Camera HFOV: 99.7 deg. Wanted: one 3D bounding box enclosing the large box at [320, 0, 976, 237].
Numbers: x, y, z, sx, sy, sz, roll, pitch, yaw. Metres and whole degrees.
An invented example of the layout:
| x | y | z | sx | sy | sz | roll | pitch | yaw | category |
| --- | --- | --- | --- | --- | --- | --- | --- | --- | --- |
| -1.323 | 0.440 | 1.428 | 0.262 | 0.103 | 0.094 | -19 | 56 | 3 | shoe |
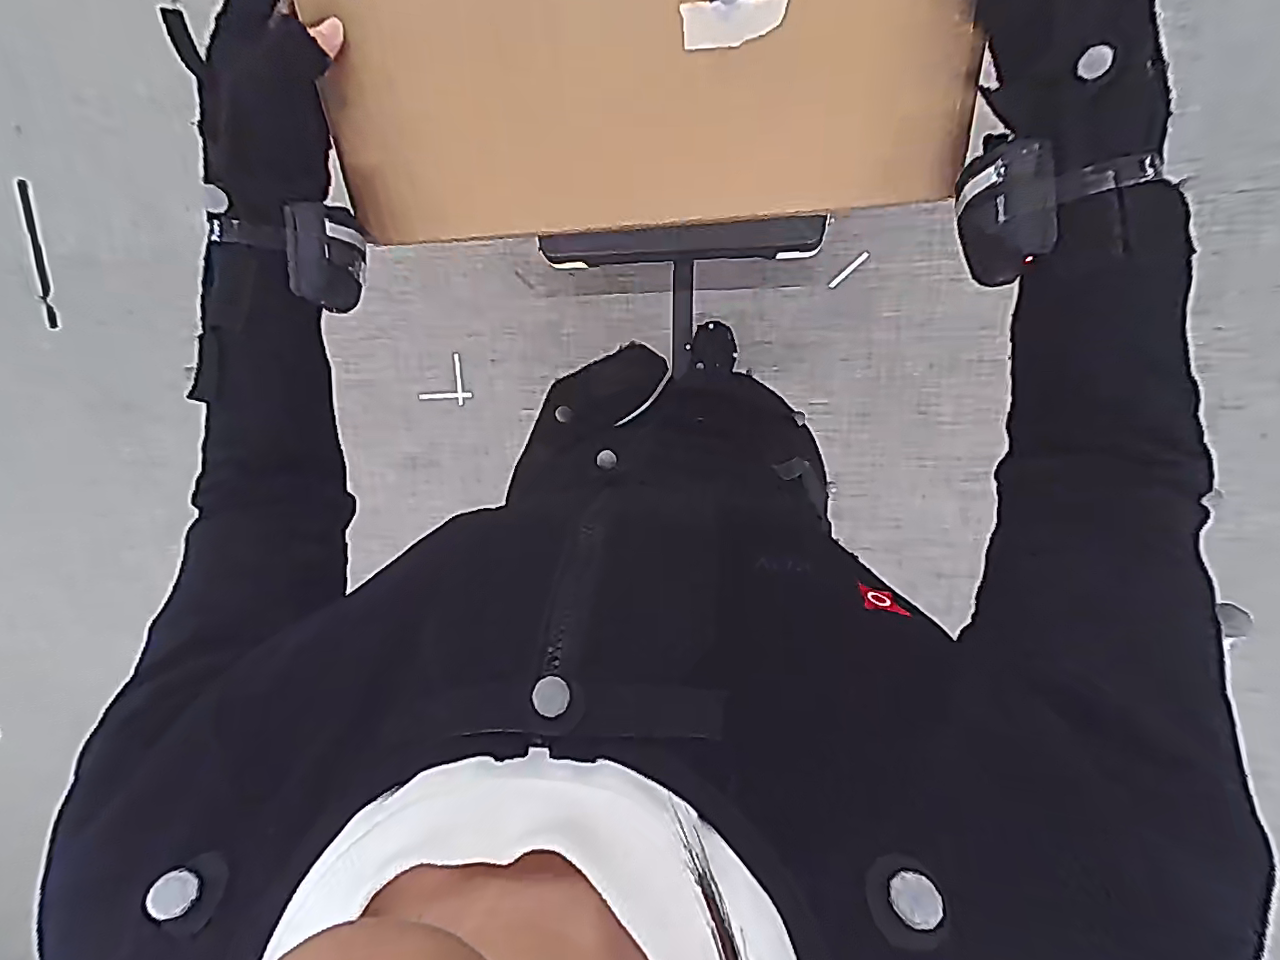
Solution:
| x | y | z | sx | sy | sz | roll | pitch | yaw | category |
| --- | --- | --- | --- | --- | --- | --- | --- | --- | --- |
| 0.009 | -0.390 | 0.440 | 0.408 | 0.320 | 0.320 | 0 | 117 | 10 | large box |
